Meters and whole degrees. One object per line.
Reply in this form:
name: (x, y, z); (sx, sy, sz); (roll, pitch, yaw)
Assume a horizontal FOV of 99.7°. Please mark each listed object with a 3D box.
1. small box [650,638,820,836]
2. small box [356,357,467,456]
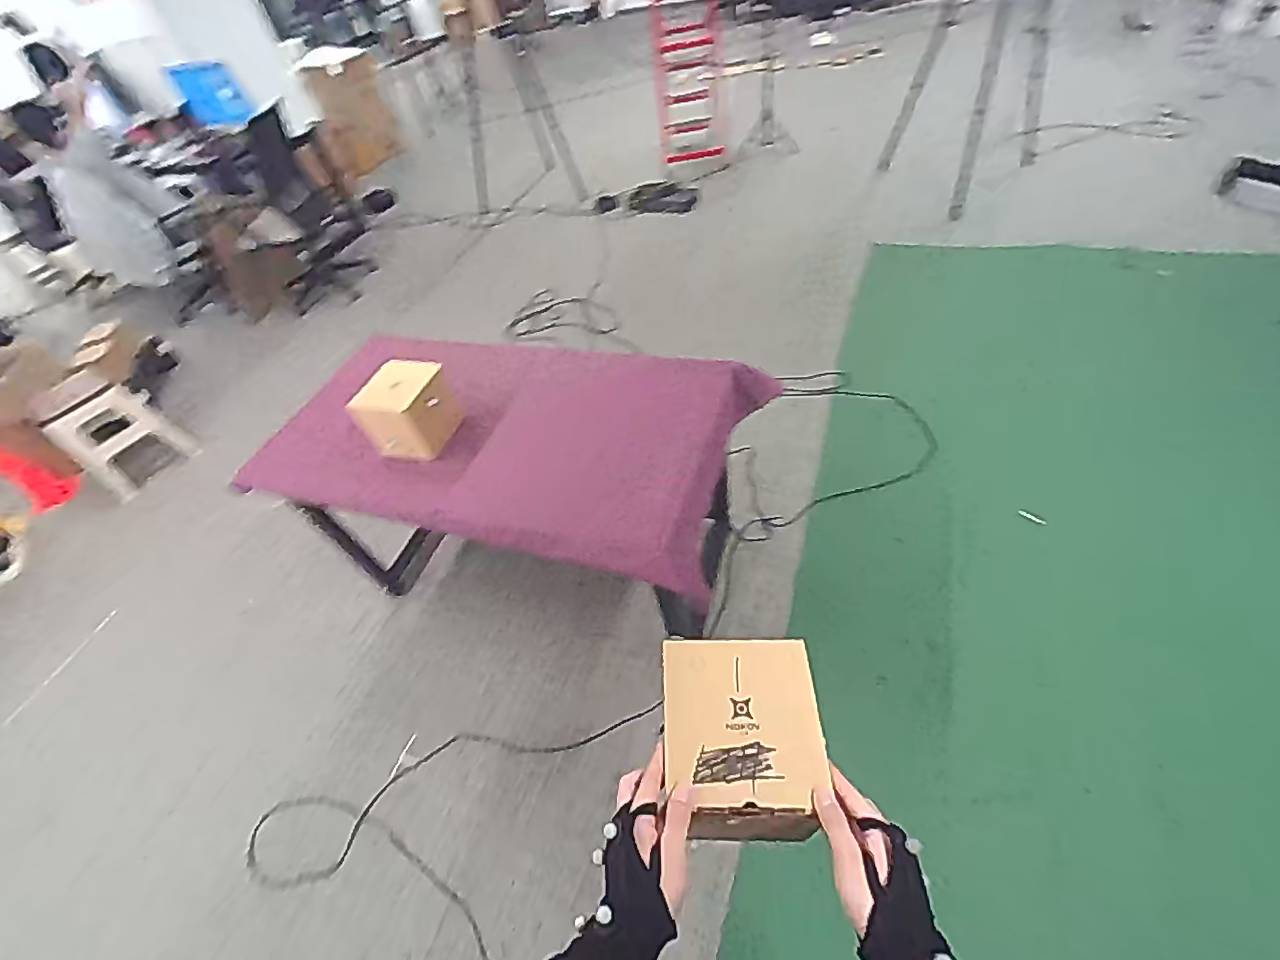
small box: (0.097, 0.303, 0.632); (0.168, 0.176, 0.179); (-2, 47, 2)
small box: (-0.566, -0.187, 1.373); (0.168, 0.176, 0.179); (8, 53, 18)
